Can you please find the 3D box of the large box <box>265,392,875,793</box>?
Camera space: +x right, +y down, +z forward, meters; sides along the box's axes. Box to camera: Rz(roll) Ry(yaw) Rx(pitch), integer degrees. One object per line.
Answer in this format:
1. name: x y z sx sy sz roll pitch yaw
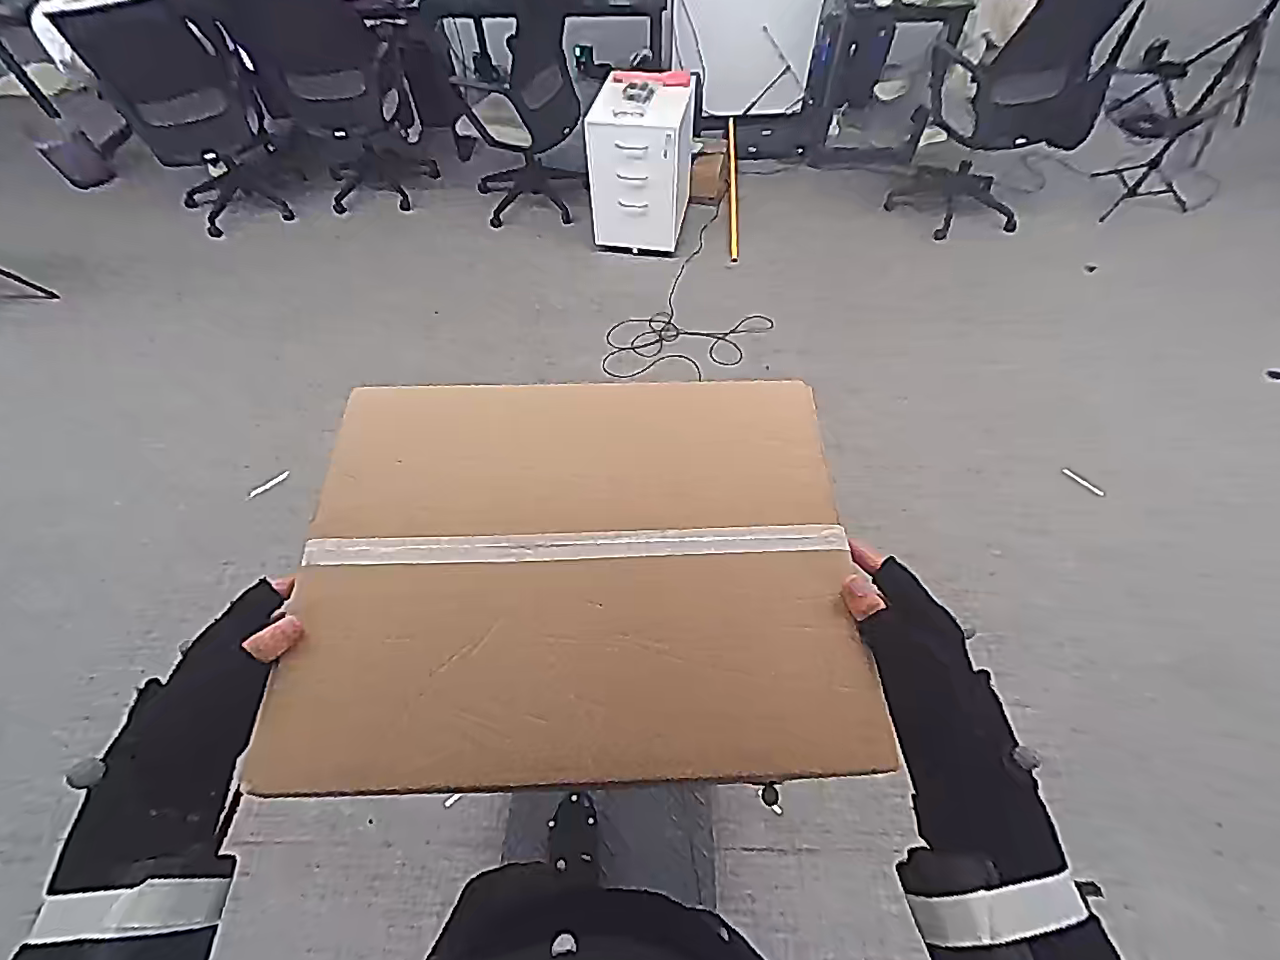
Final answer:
1. large box: -0.049 0.128 0.550 0.408 0.320 0.320 -1 60 -2
